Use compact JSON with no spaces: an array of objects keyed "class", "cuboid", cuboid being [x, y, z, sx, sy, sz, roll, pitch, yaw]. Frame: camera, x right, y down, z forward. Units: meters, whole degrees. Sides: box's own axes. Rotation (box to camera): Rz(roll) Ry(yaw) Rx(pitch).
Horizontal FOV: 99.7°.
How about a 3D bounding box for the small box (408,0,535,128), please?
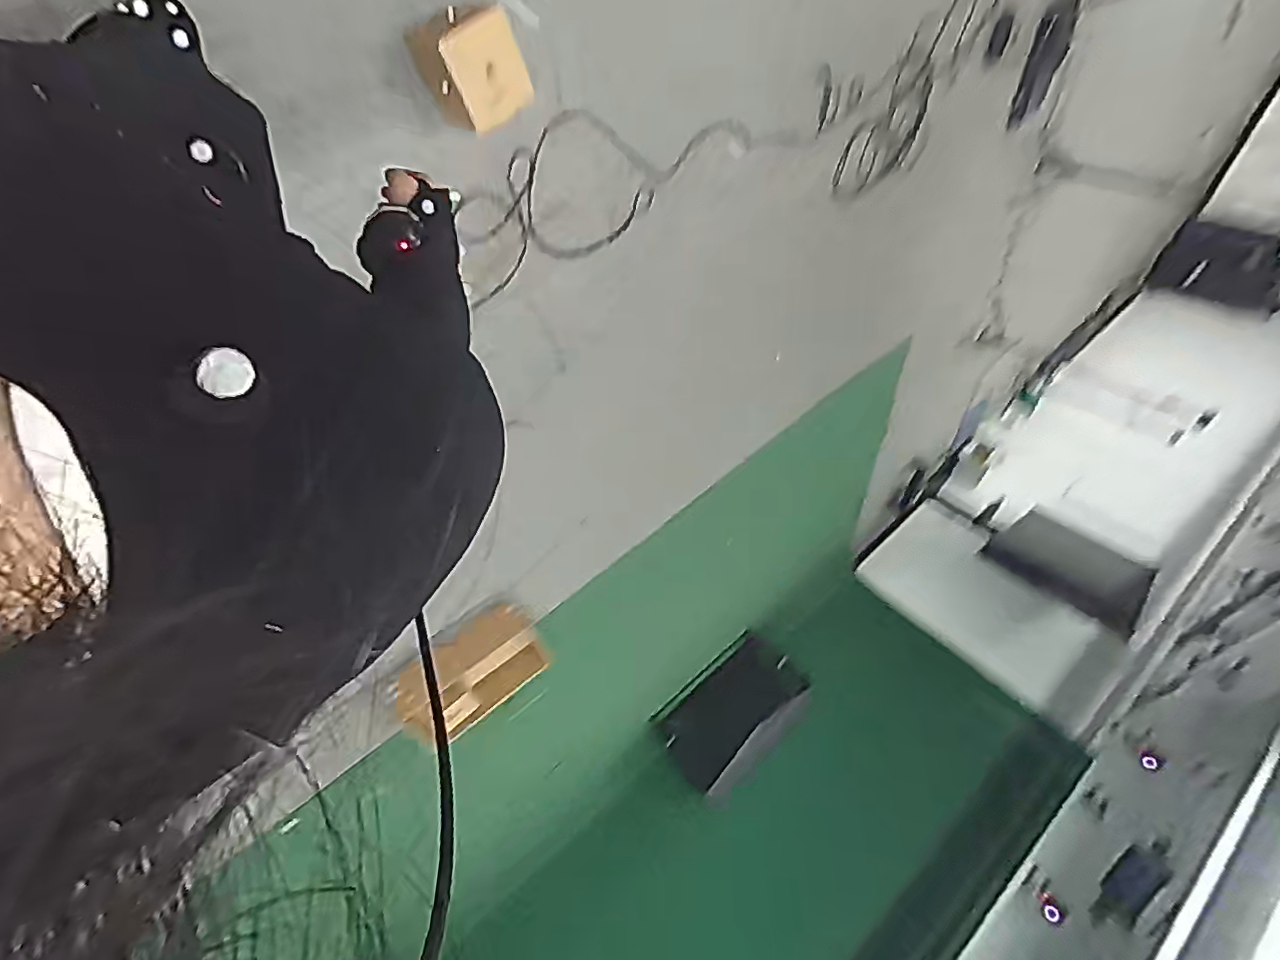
[{"class":"small box","cuboid":[-0.367,-0.909,1.176,0.168,0.176,0.179,-42,146,-11]}]
